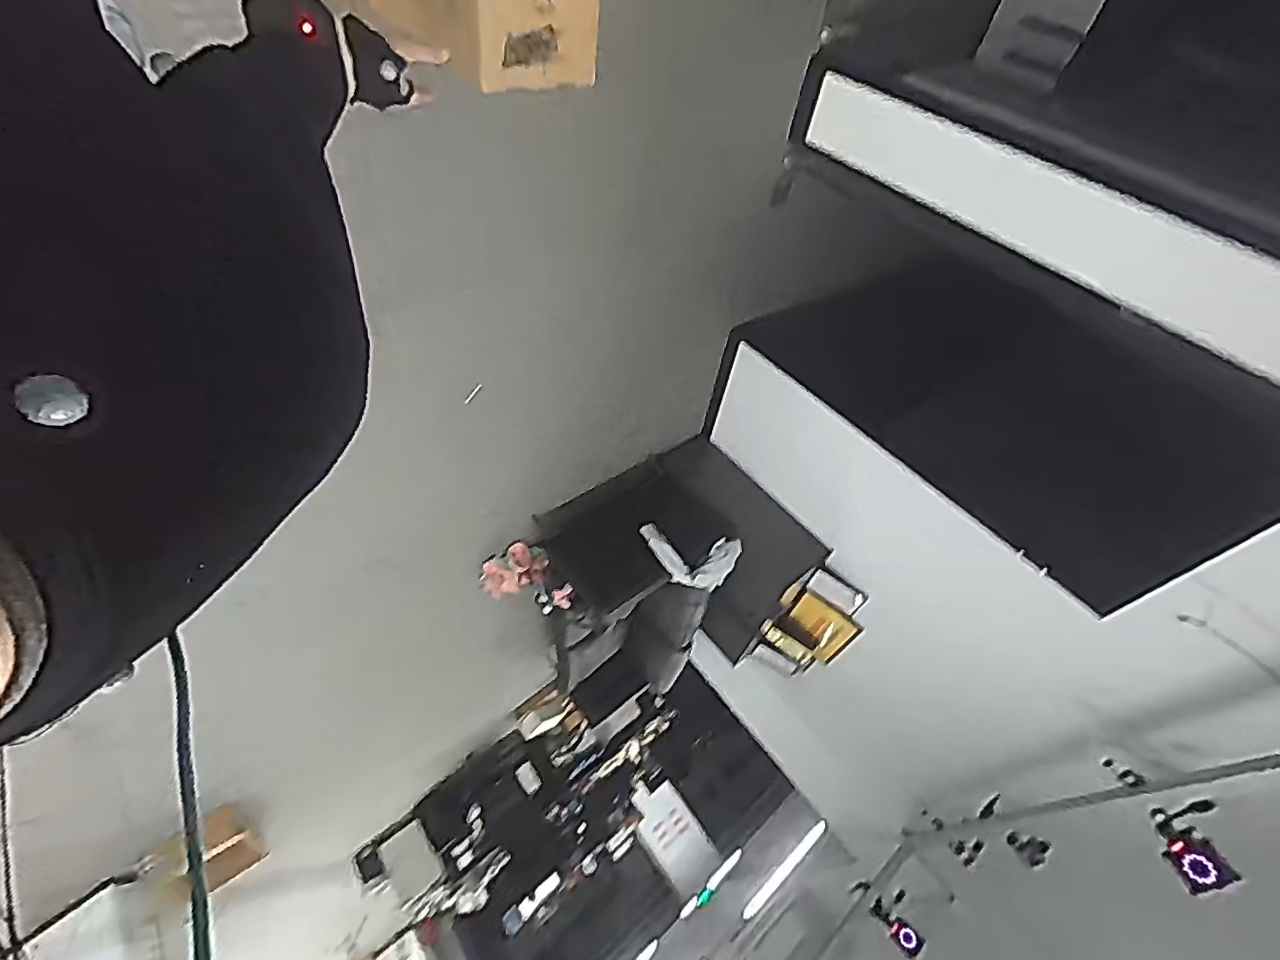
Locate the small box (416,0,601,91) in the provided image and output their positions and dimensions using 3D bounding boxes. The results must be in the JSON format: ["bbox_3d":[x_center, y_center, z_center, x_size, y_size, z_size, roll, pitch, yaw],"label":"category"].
[{"bbox_3d":[-0.161,-0.598,0.645,0.168,0.176,0.179,-29,150,-29],"label":"small box"}]
